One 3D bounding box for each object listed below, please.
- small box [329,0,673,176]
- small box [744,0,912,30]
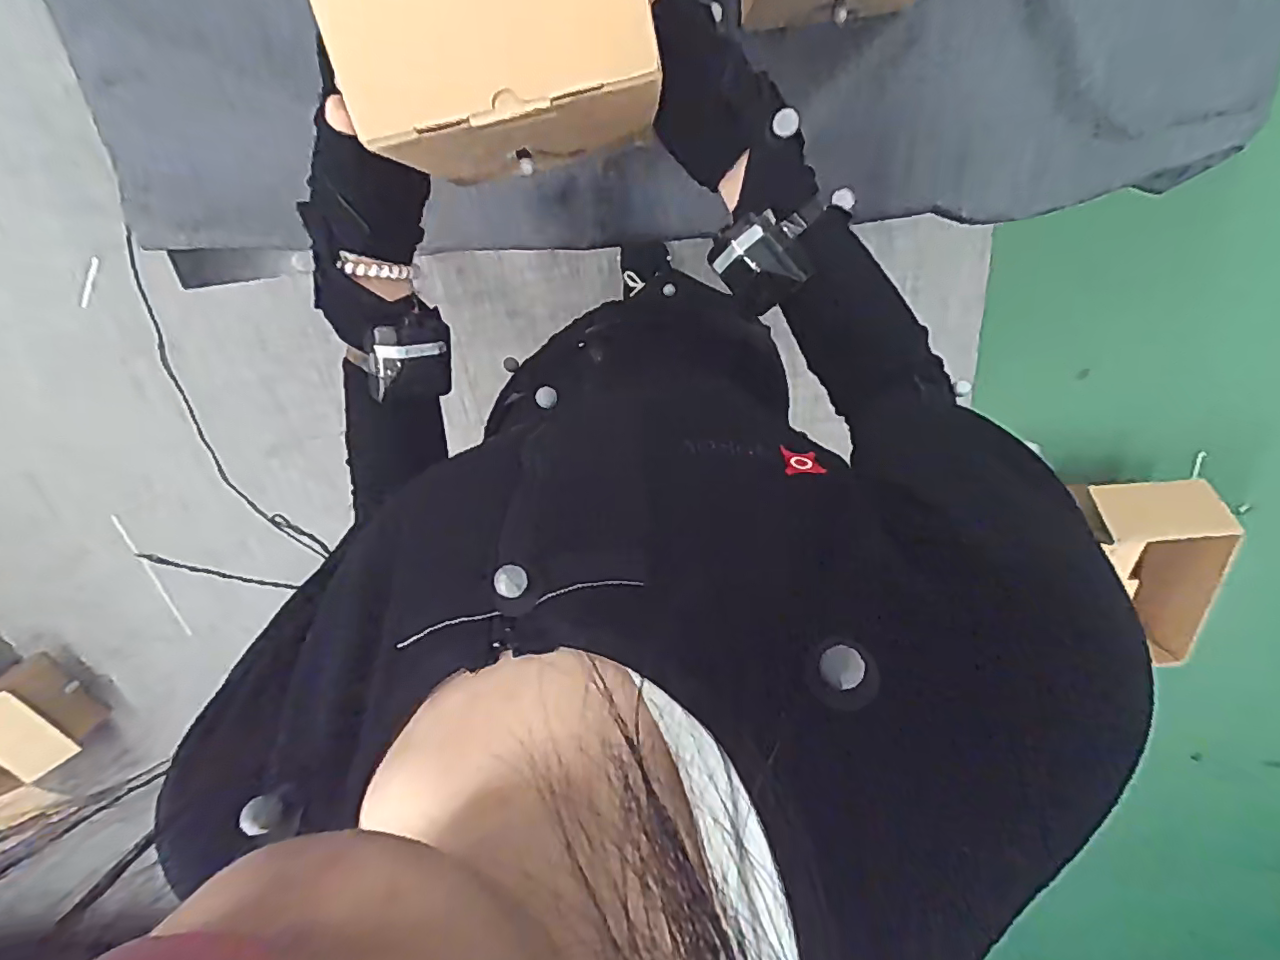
[{"bbox_3d":[-0.081,-0.305,0.326,0.168,0.176,0.179,-11,114,3],"label":"small box"},{"bbox_3d":[0.176,-0.506,0.435,0.168,0.176,0.179,-5,116,3],"label":"small box"}]
